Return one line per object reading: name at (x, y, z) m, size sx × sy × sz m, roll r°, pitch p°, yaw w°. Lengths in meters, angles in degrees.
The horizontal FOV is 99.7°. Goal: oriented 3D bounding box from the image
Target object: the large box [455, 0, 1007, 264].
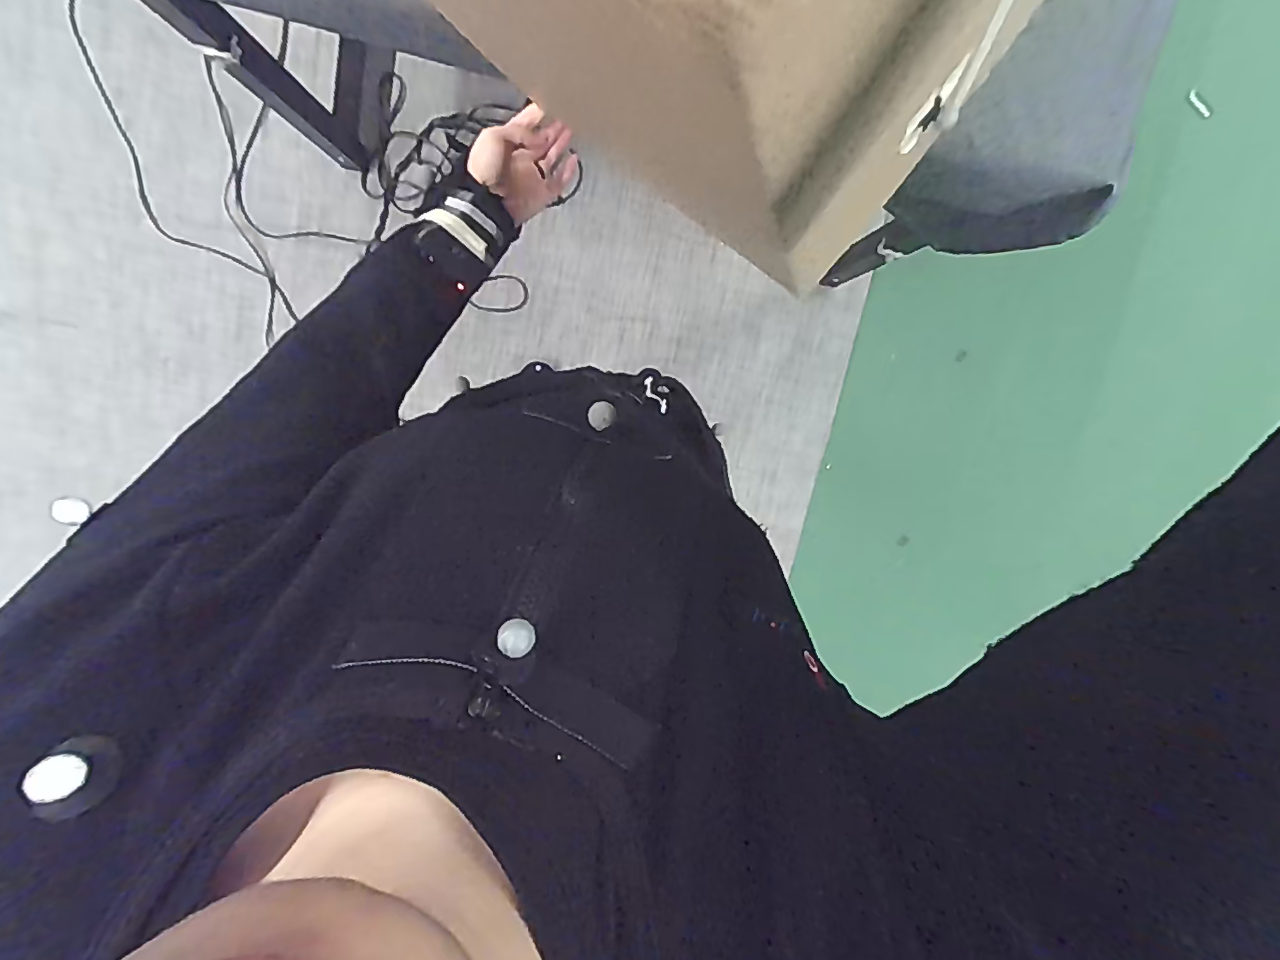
large box at (0.050, -0.350, 0.256) m, size 0.320 × 0.408 × 0.320 m, roll 39°, pitch 111°, yaw 6°
